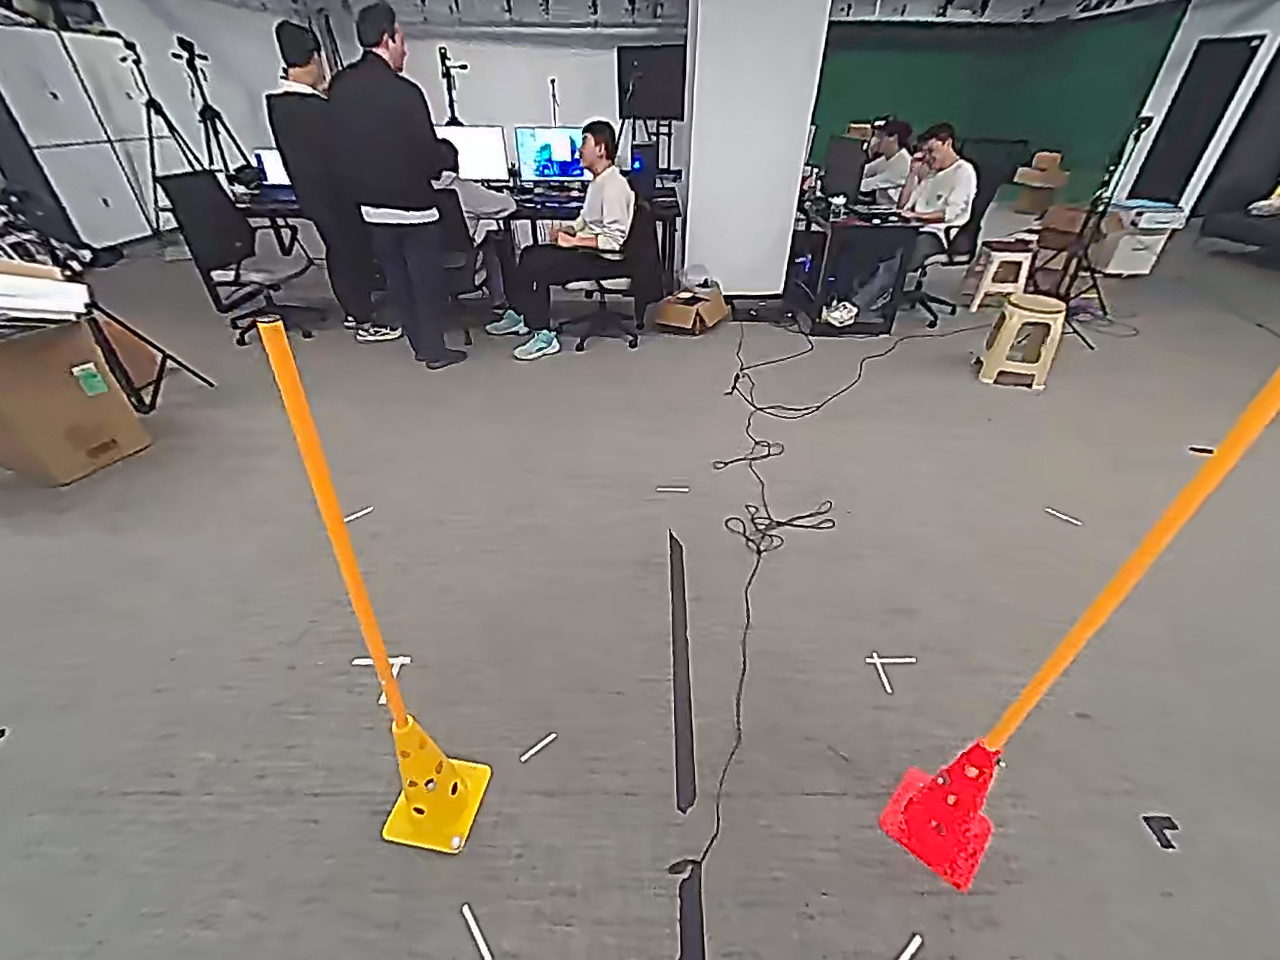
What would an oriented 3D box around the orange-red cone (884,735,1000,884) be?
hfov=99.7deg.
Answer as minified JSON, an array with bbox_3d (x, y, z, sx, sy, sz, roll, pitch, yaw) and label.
[{"bbox_3d":[0.701,0.667,1.173,0.199,0.360,0.198,-30,44,-34],"label":"orange-red cone"}]
